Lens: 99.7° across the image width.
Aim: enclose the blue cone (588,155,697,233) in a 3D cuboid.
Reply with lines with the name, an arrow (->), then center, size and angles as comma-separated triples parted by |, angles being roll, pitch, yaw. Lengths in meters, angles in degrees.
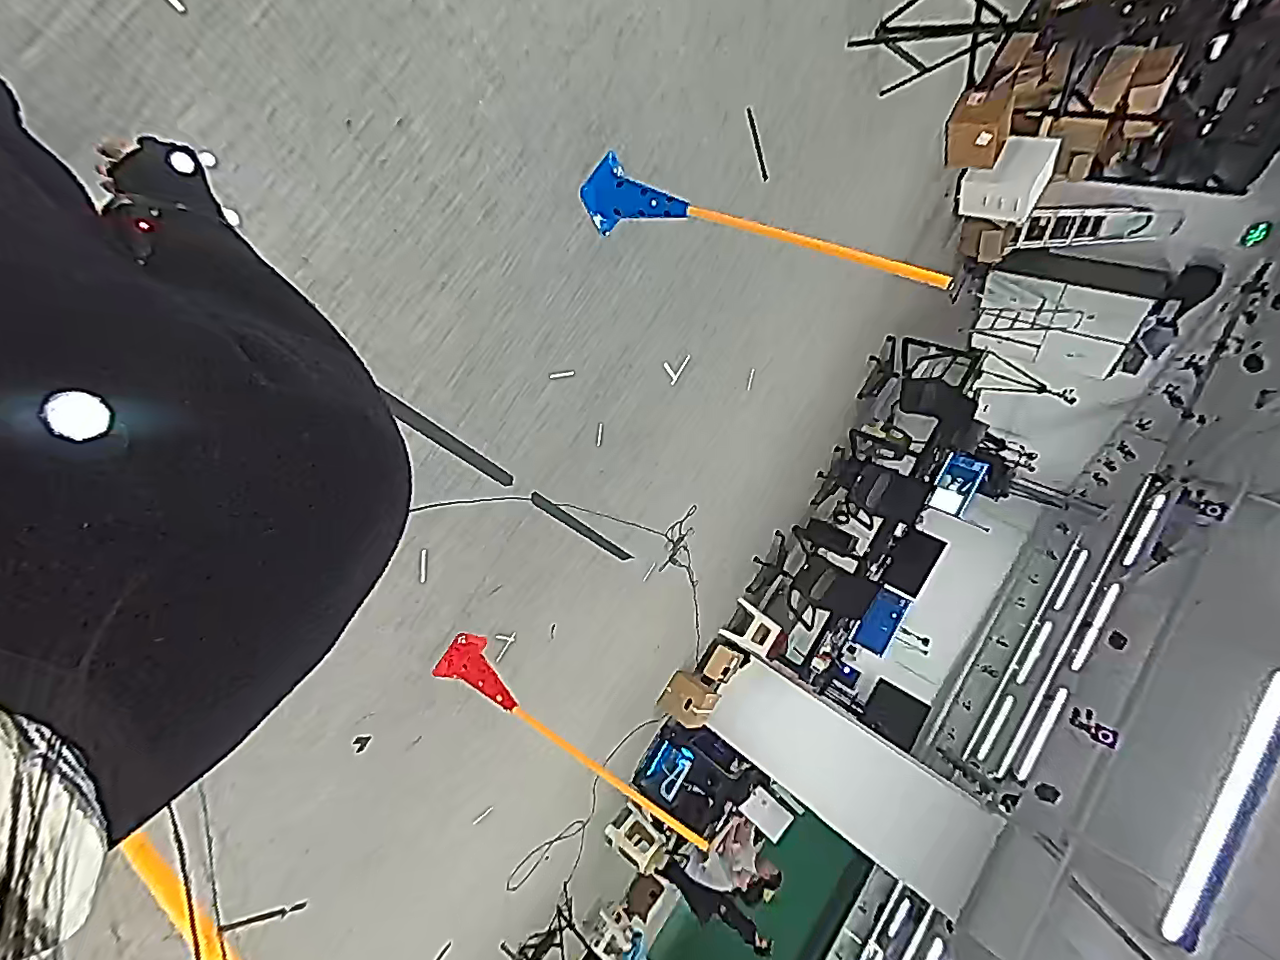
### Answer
blue cone -> 0.027, -0.916, 1.776 | 0.193, 0.380, 0.192 | -55, 149, -10
